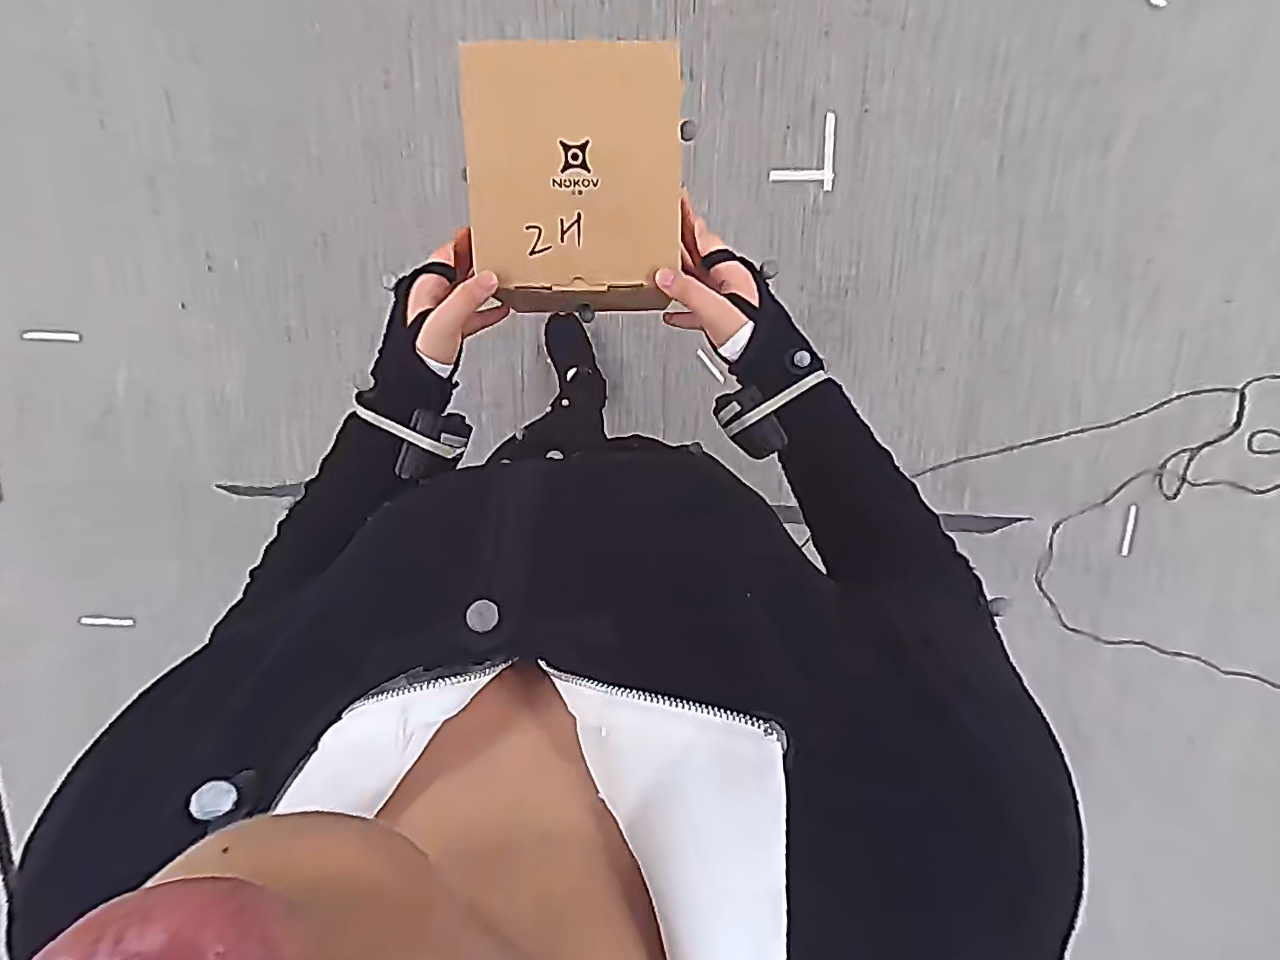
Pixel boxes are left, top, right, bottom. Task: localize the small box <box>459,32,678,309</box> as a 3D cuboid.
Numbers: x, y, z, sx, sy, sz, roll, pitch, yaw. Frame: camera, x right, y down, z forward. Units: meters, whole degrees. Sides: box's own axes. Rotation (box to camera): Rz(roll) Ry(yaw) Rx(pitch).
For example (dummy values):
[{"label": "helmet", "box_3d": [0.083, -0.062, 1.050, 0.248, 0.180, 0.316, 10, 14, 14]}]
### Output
[{"label": "small box", "box_3d": [-0.056, -0.259, 0.494, 0.168, 0.176, 0.179, -1, 101, -1]}]
